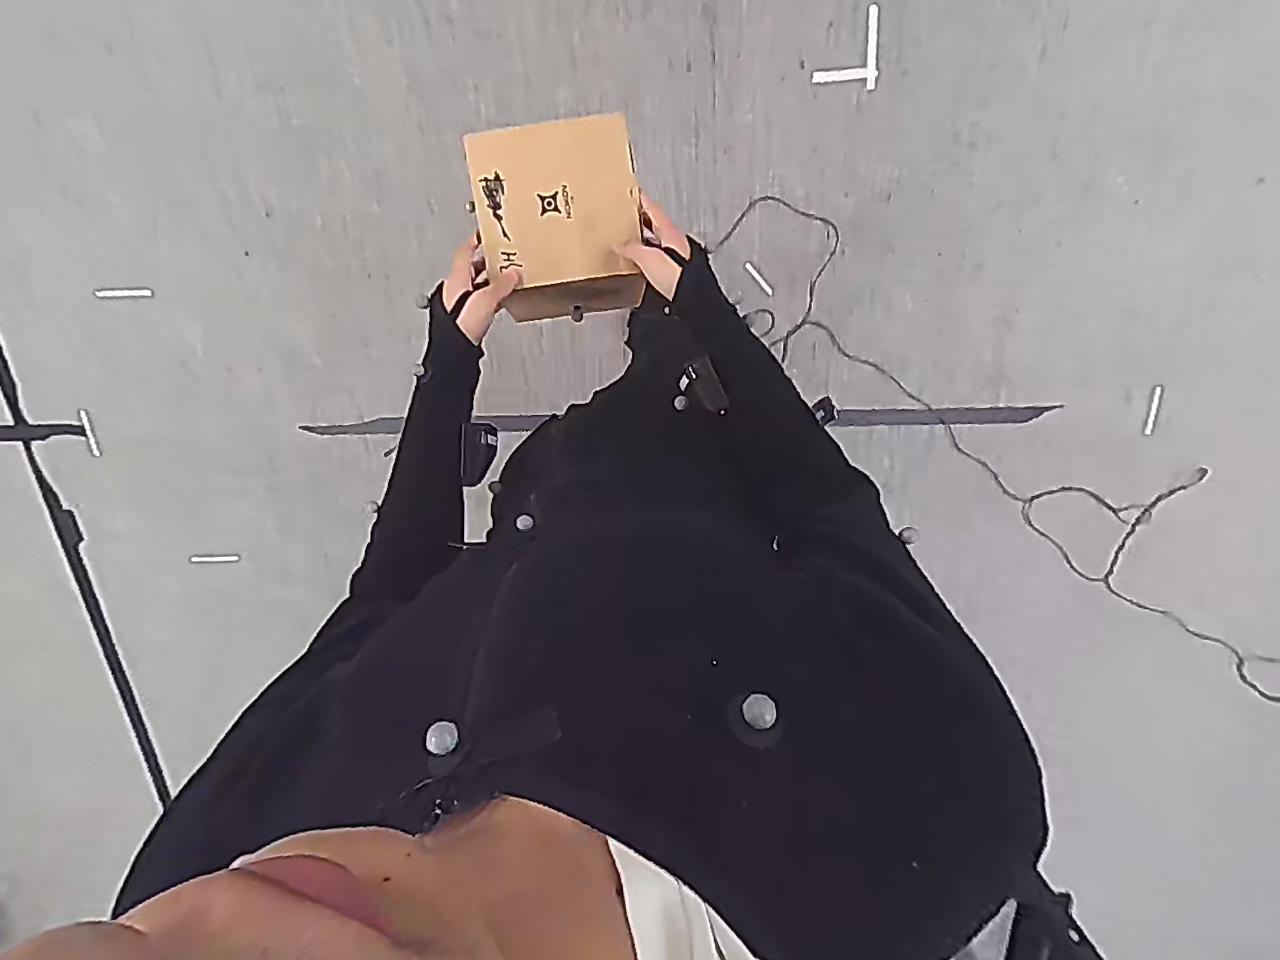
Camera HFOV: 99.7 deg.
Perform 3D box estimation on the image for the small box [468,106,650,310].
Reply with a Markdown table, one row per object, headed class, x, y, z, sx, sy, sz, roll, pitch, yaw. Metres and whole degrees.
| class | x | y | z | sx | sy | sz | roll | pitch | yaw |
| --- | --- | --- | --- | --- | --- | --- | --- | --- | --- |
| small box | -0.091 | -0.311 | 0.650 | 0.179 | 0.176 | 0.168 | -8 | 96 | -4 |
